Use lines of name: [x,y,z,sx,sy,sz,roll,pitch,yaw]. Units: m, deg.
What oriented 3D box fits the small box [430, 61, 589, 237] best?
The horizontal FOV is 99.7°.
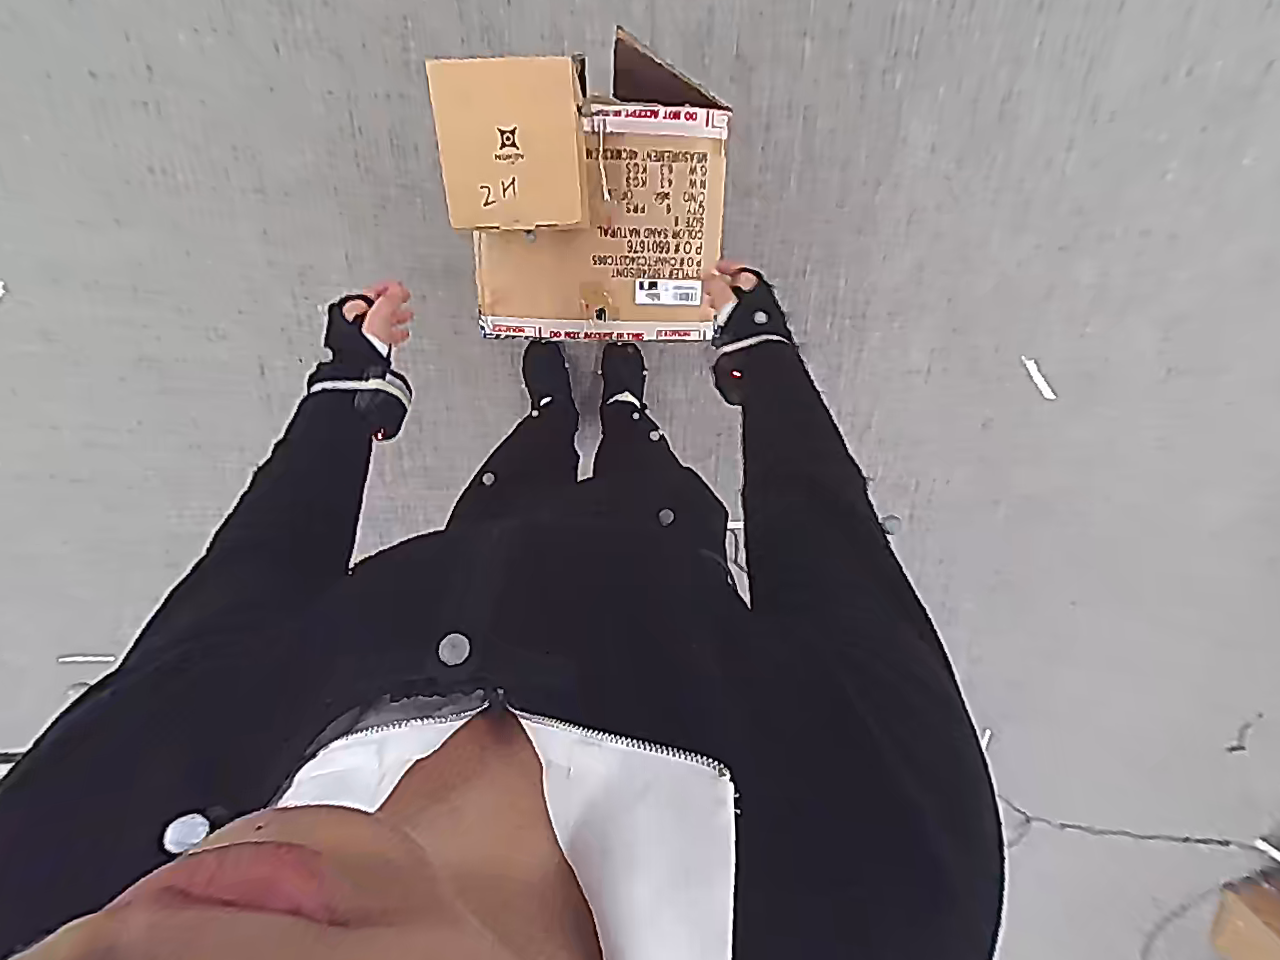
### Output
small box: [-0.157,-0.421,0.715,0.168,0.176,0.179,-2,114,0]
